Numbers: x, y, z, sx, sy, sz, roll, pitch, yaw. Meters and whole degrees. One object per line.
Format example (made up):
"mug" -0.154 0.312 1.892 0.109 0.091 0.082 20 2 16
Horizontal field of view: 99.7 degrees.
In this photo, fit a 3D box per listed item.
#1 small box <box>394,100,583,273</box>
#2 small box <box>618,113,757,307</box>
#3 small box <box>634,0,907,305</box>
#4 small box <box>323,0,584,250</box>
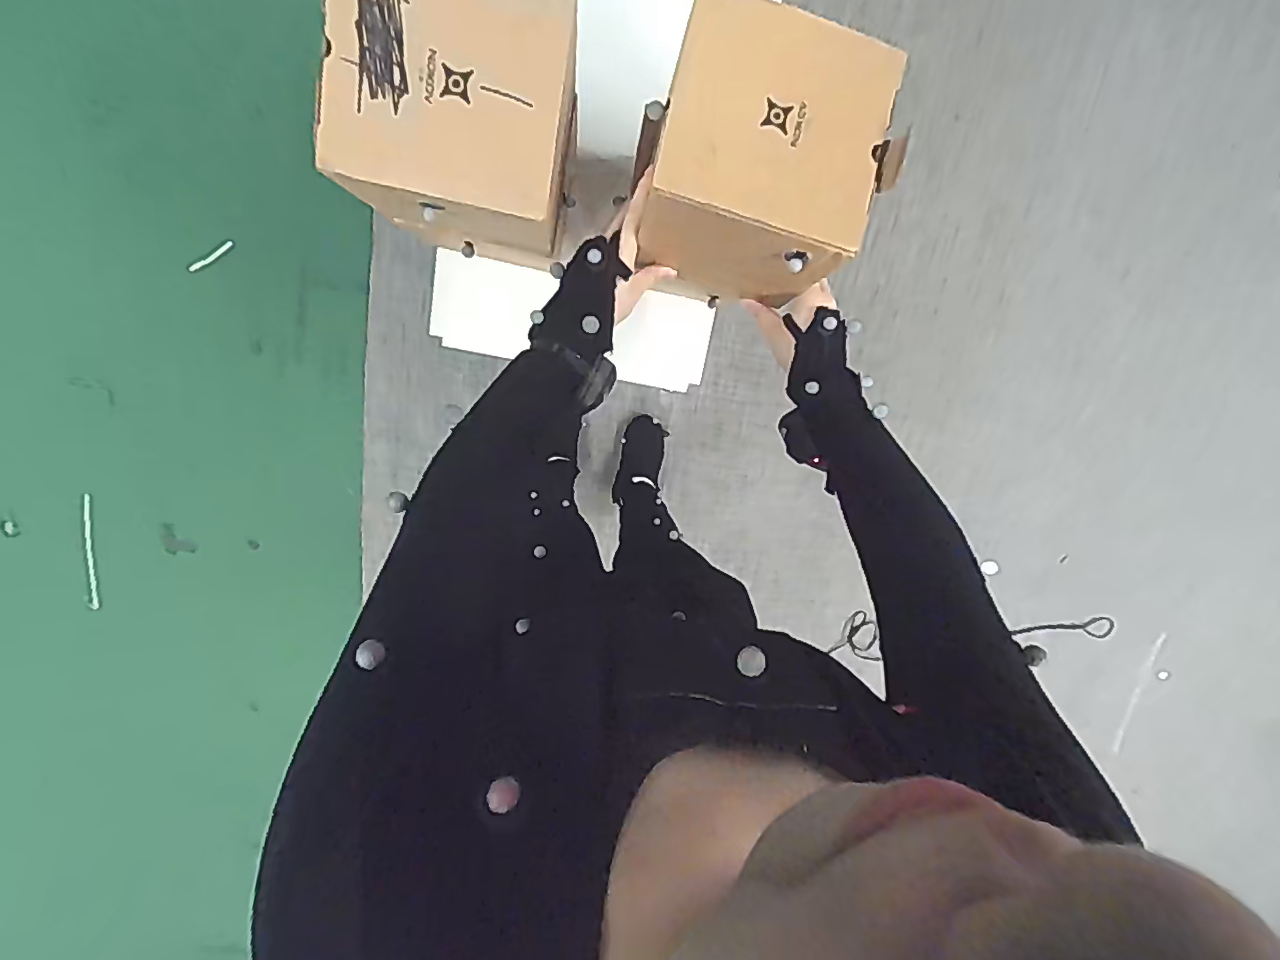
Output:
"small box" -0.168 -0.353 0.641 0.179 0.176 0.168 10 104 -10
"small box" 0.073 -0.317 0.677 0.179 0.176 0.168 9 102 -6
"small box" 0.100 -0.278 0.496 0.179 0.176 0.168 13 91 -9
"small box" -0.150 -0.315 0.480 0.179 0.176 0.168 8 104 -10
